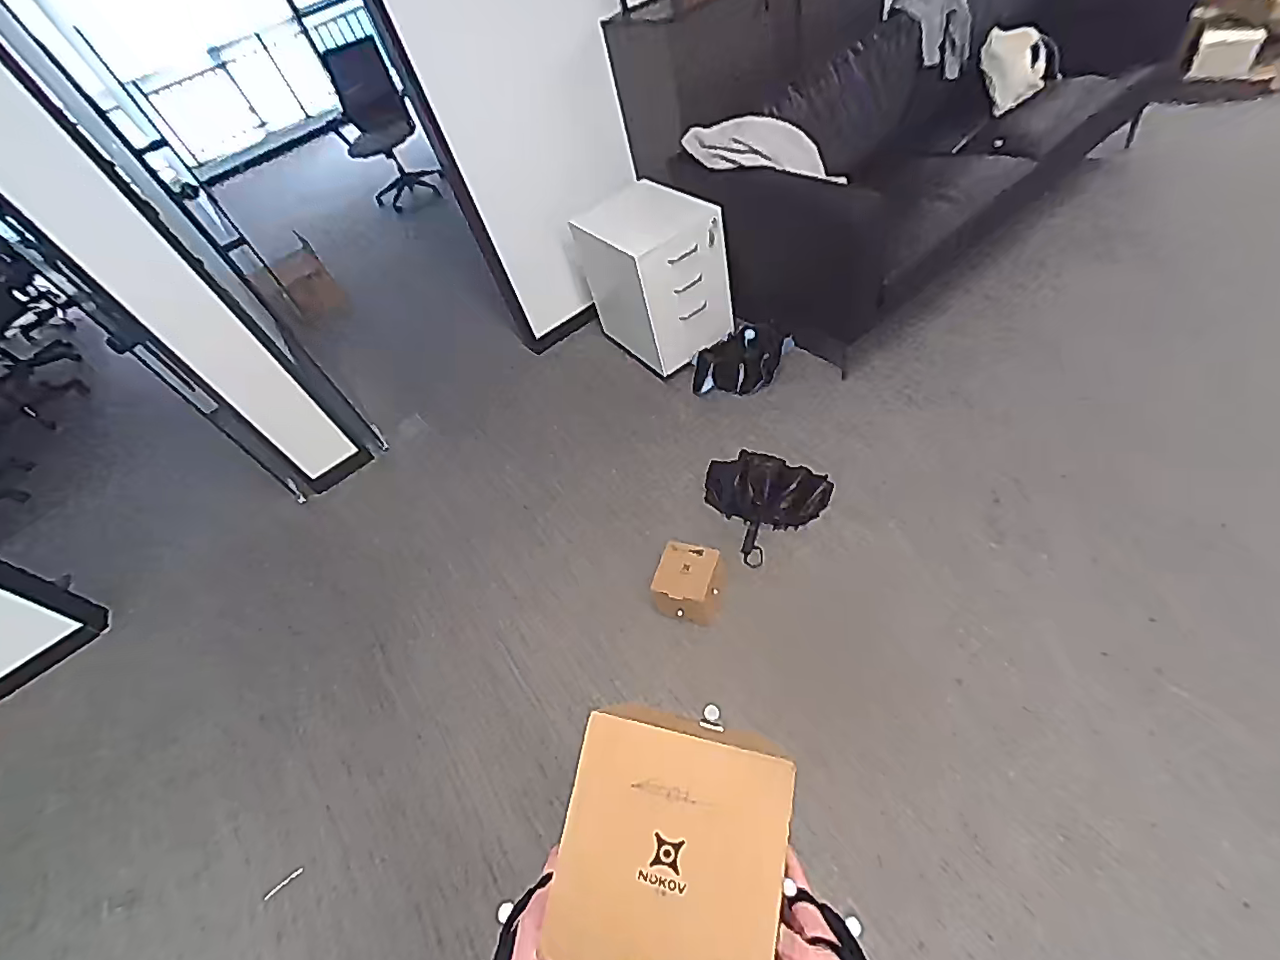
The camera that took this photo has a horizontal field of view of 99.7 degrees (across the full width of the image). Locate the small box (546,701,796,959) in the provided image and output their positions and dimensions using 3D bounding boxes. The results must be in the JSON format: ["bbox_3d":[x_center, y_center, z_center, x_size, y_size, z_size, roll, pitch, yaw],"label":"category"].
[{"bbox_3d":[0.037,0.308,0.481,0.168,0.176,0.179,9,72,12],"label":"small box"}]
